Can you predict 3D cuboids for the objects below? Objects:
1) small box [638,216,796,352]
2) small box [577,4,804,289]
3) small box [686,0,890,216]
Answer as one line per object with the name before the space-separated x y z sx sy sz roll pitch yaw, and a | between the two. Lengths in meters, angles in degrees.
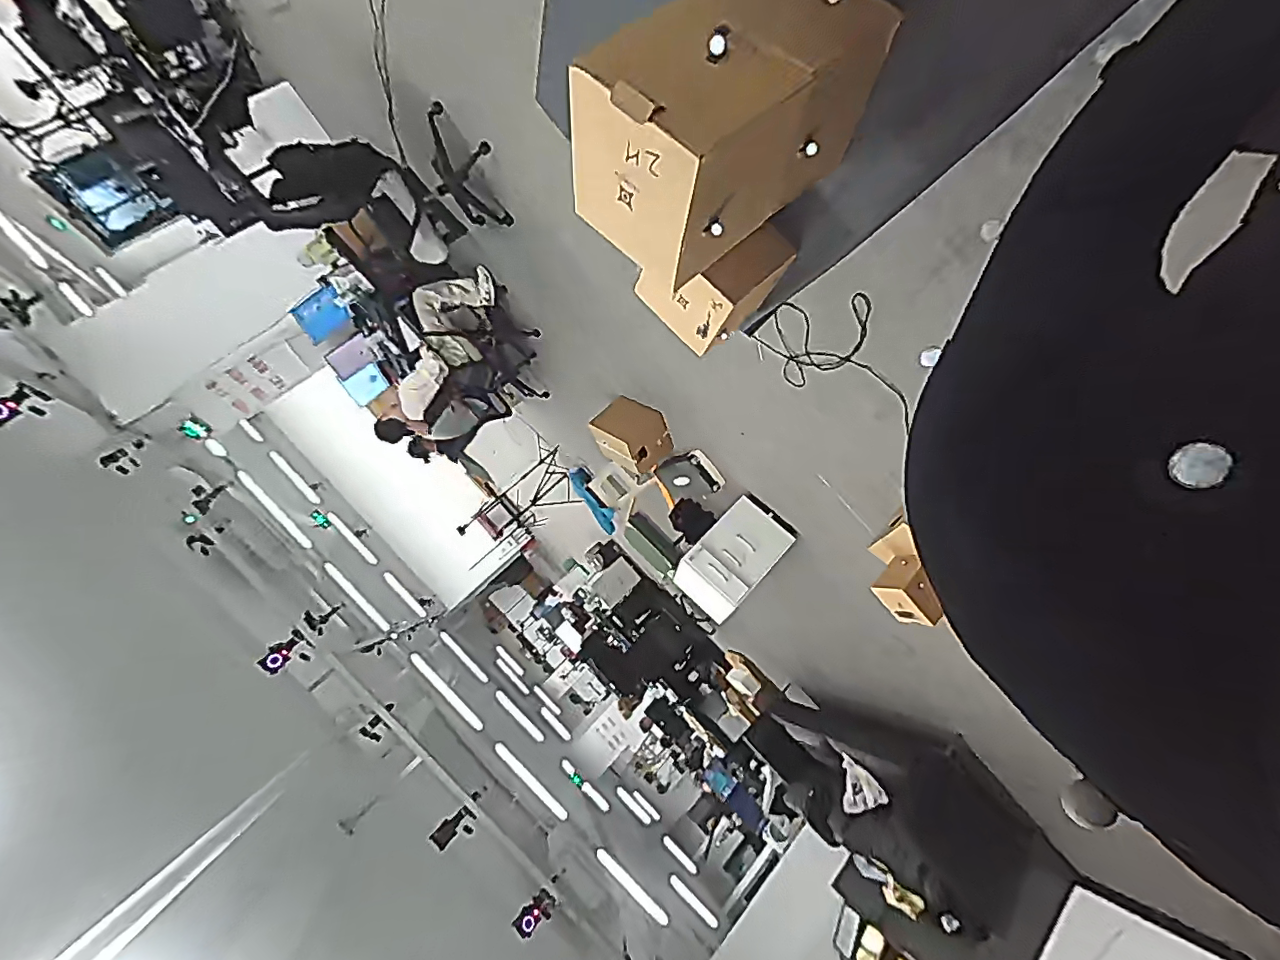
small box | 0.127 -0.363 0.928 0.179 0.176 0.168 46 162 3
small box | 0.049 -0.357 0.593 0.168 0.176 0.179 42 161 11
small box | 0.160 -0.467 0.644 0.168 0.176 0.179 41 161 14
